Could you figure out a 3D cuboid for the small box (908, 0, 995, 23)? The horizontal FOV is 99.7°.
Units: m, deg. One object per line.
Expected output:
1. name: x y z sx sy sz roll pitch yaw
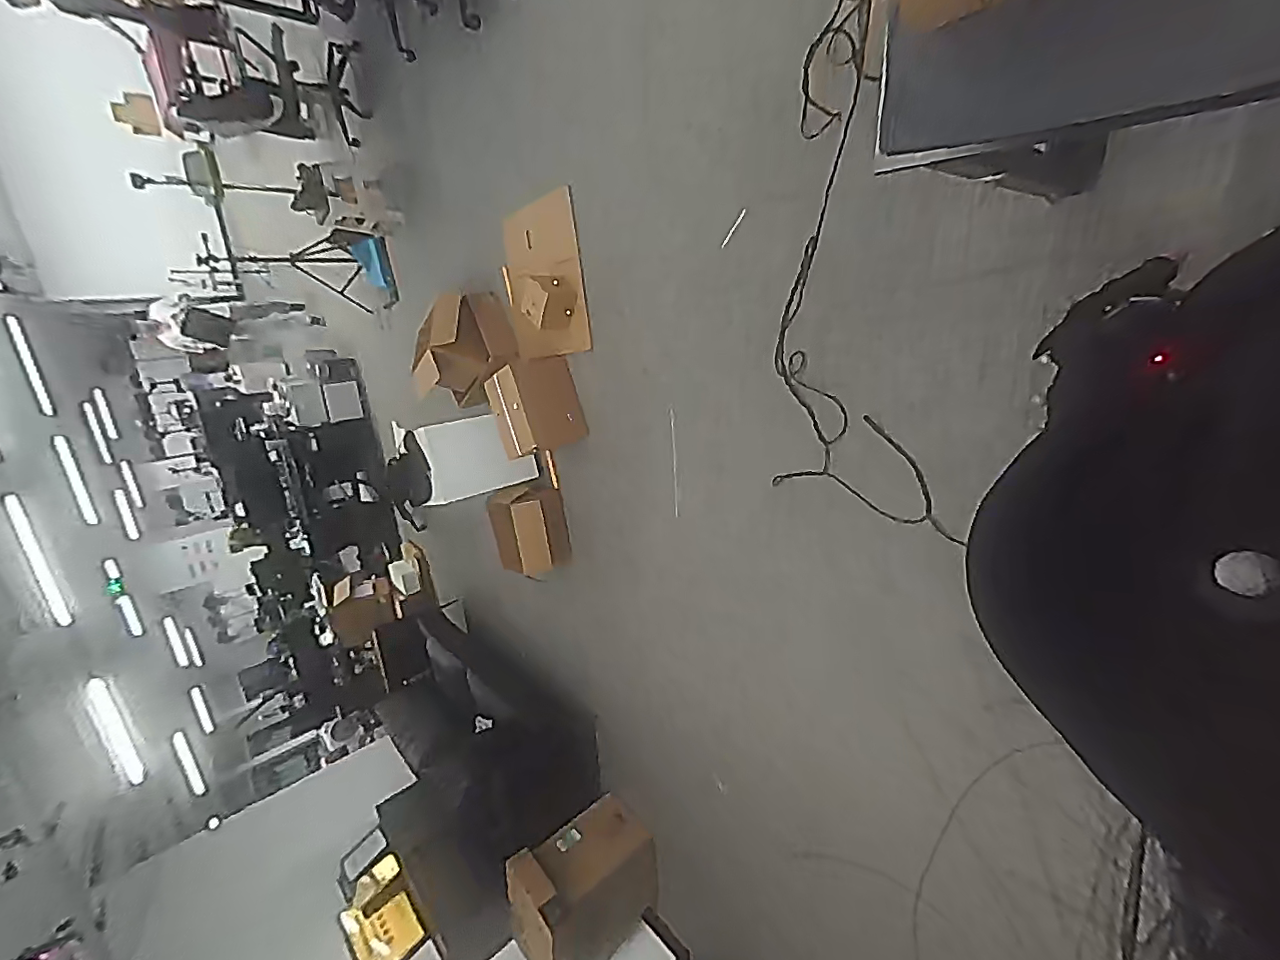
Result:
1. small box: 0.326 -0.579 0.498 0.168 0.176 0.179 14 114 45
